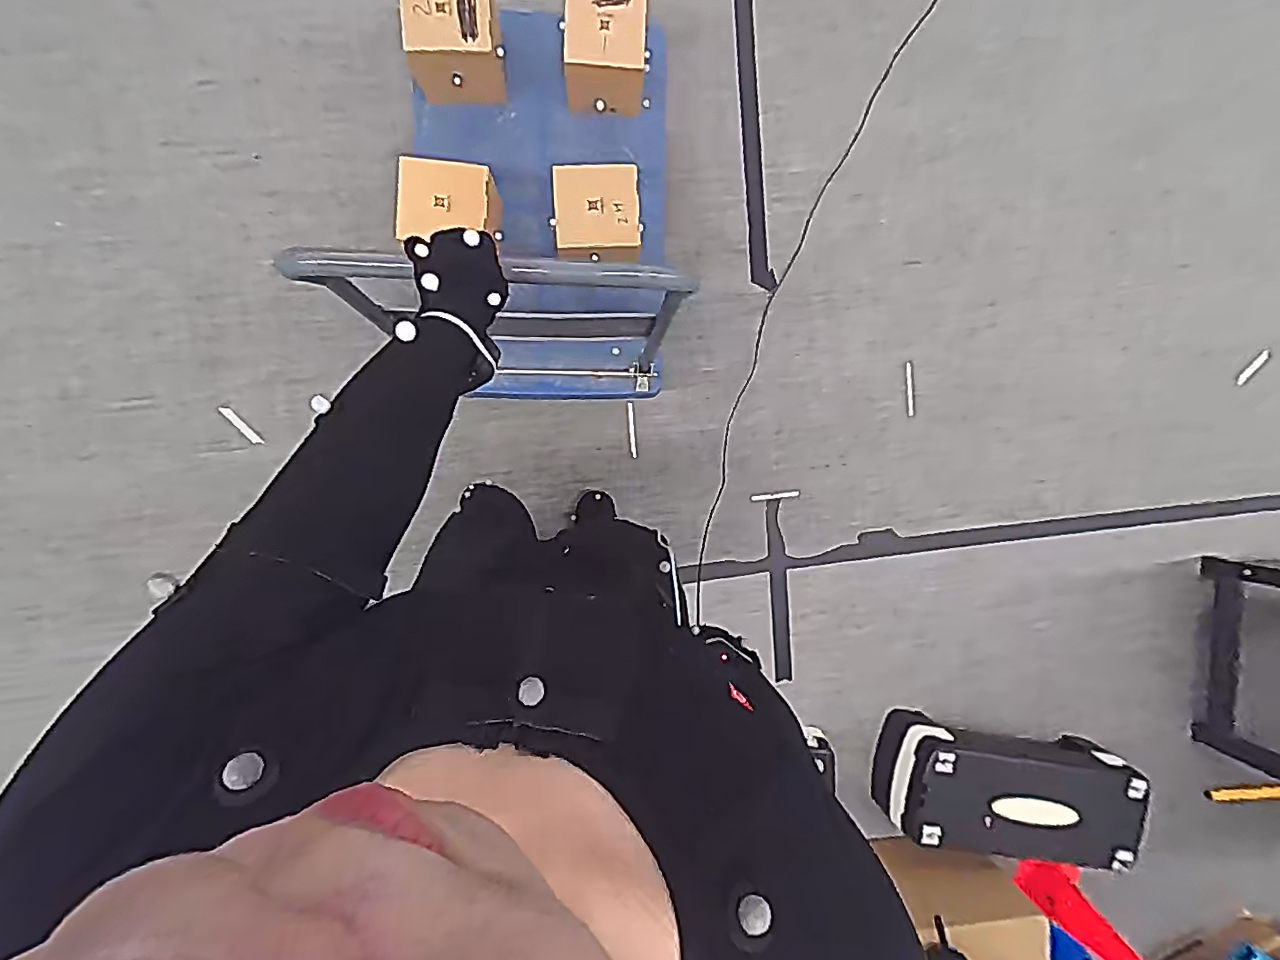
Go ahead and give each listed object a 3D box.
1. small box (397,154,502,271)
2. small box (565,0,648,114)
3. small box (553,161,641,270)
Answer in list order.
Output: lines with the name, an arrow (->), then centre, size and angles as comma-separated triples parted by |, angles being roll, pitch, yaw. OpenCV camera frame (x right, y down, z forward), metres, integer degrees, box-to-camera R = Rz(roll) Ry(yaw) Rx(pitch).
small box -> -0.400, -0.564, 1.159 | 0.179, 0.176, 0.168 | 3, 92, -7
small box -> -0.074, -0.935, 1.165 | 0.168, 0.176, 0.179 | 2, 94, -5
small box -> -0.092, -0.570, 1.184 | 0.179, 0.176, 0.168 | -3, 94, -4
